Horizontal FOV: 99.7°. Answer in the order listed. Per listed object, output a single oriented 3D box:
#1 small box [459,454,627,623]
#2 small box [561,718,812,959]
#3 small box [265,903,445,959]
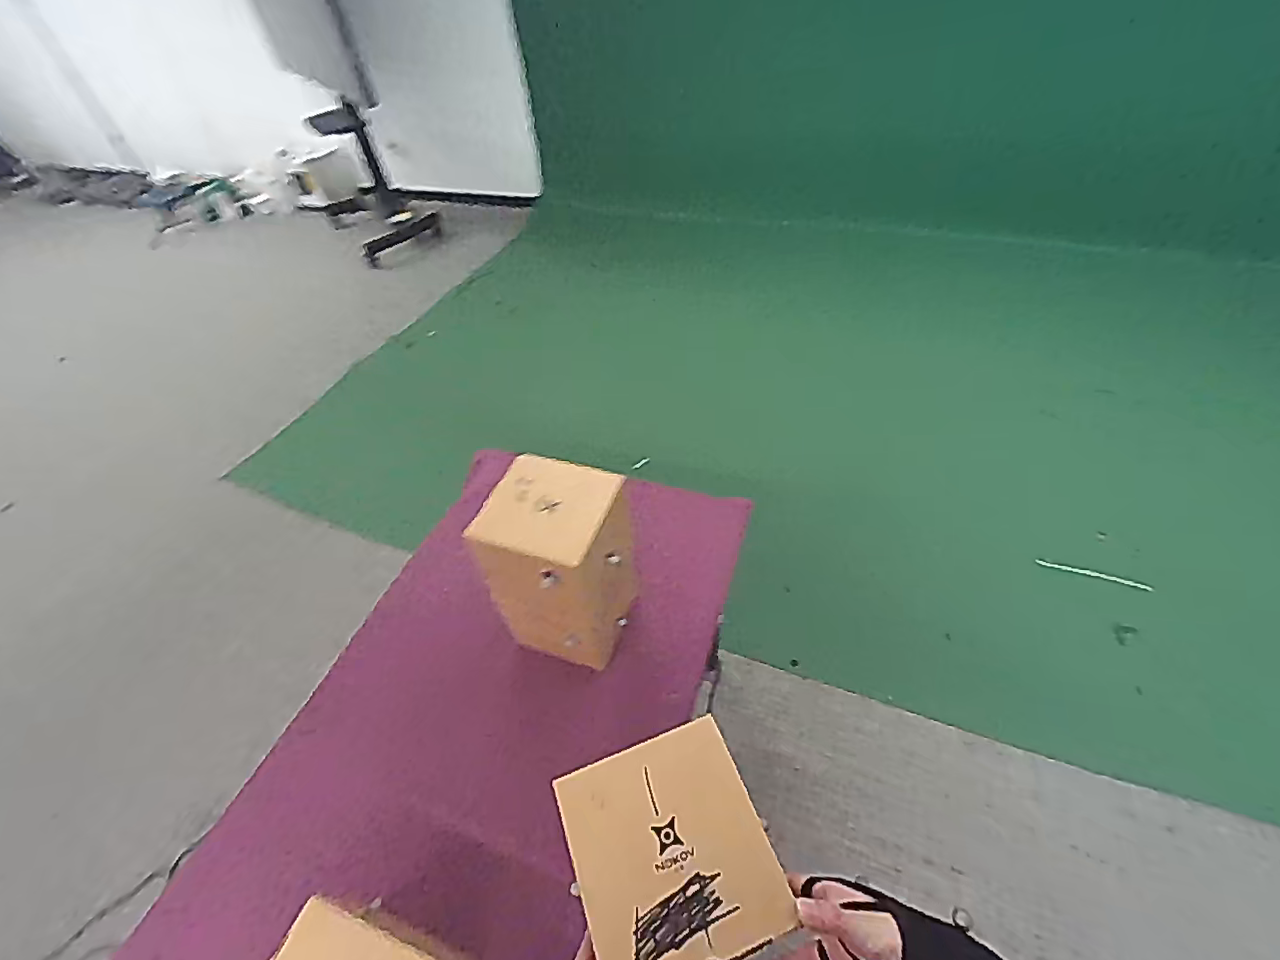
[{"bbox_3d":[-0.129,0.090,0.806,0.179,0.176,0.168,13,50,17],"label":"small box"},{"bbox_3d":[0.035,0.362,0.515,0.168,0.176,0.179,-16,52,-11],"label":"small box"},{"bbox_3d":[-0.317,0.597,0.582,0.179,0.176,0.168,12,50,16],"label":"small box"}]
